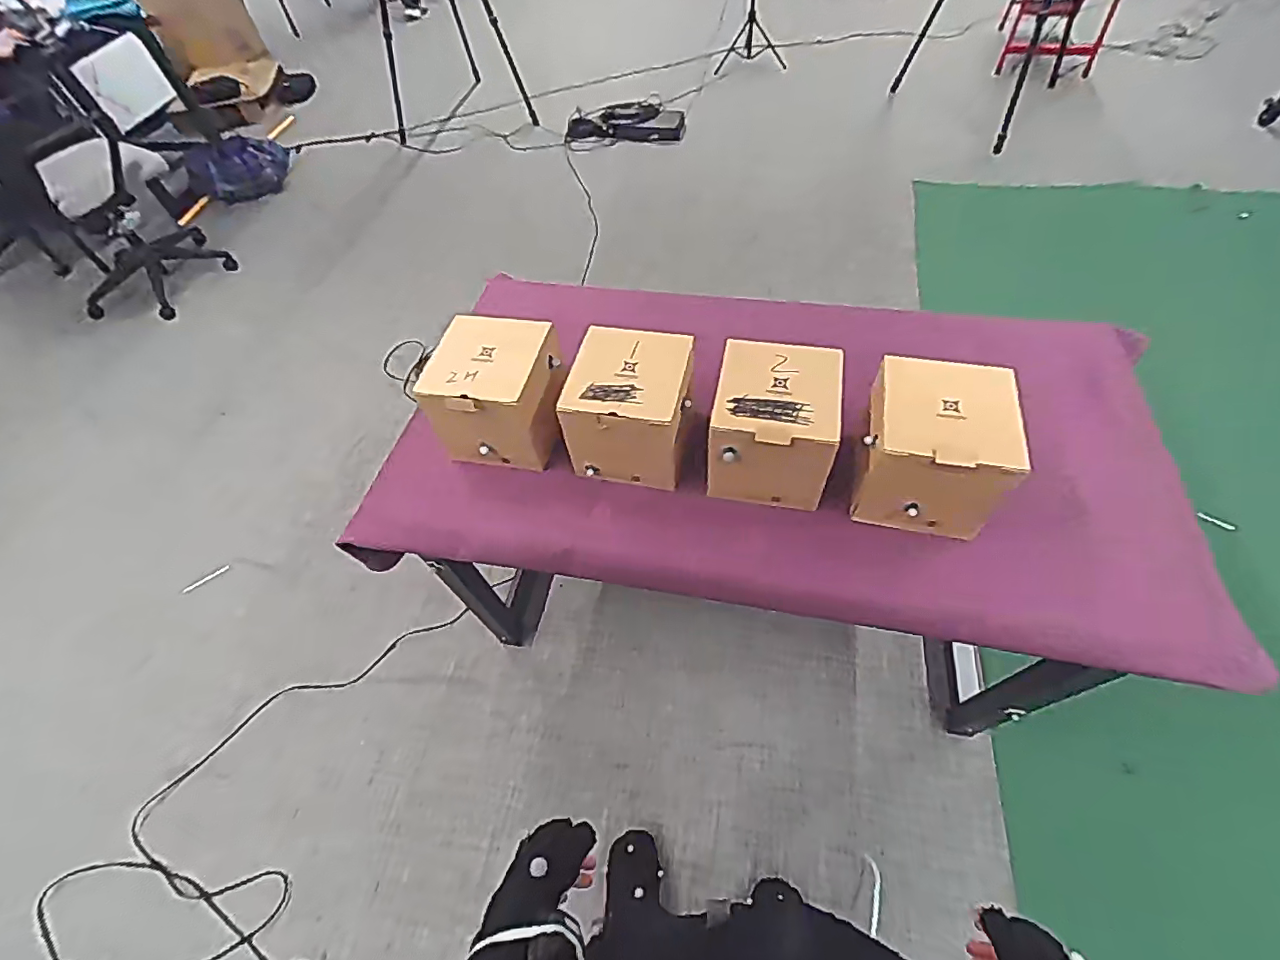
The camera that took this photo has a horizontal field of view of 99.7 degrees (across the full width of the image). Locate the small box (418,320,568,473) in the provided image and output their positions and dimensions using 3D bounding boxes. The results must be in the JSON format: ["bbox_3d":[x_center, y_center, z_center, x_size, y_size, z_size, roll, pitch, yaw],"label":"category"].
[{"bbox_3d":[-0.225,-0.136,0.890,0.168,0.176,0.179,7,57,11],"label":"small box"}]

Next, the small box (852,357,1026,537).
[{"bbox_3d":[0.405,-0.045,0.765,0.168,0.176,0.179,9,57,12],"label":"small box"}]
